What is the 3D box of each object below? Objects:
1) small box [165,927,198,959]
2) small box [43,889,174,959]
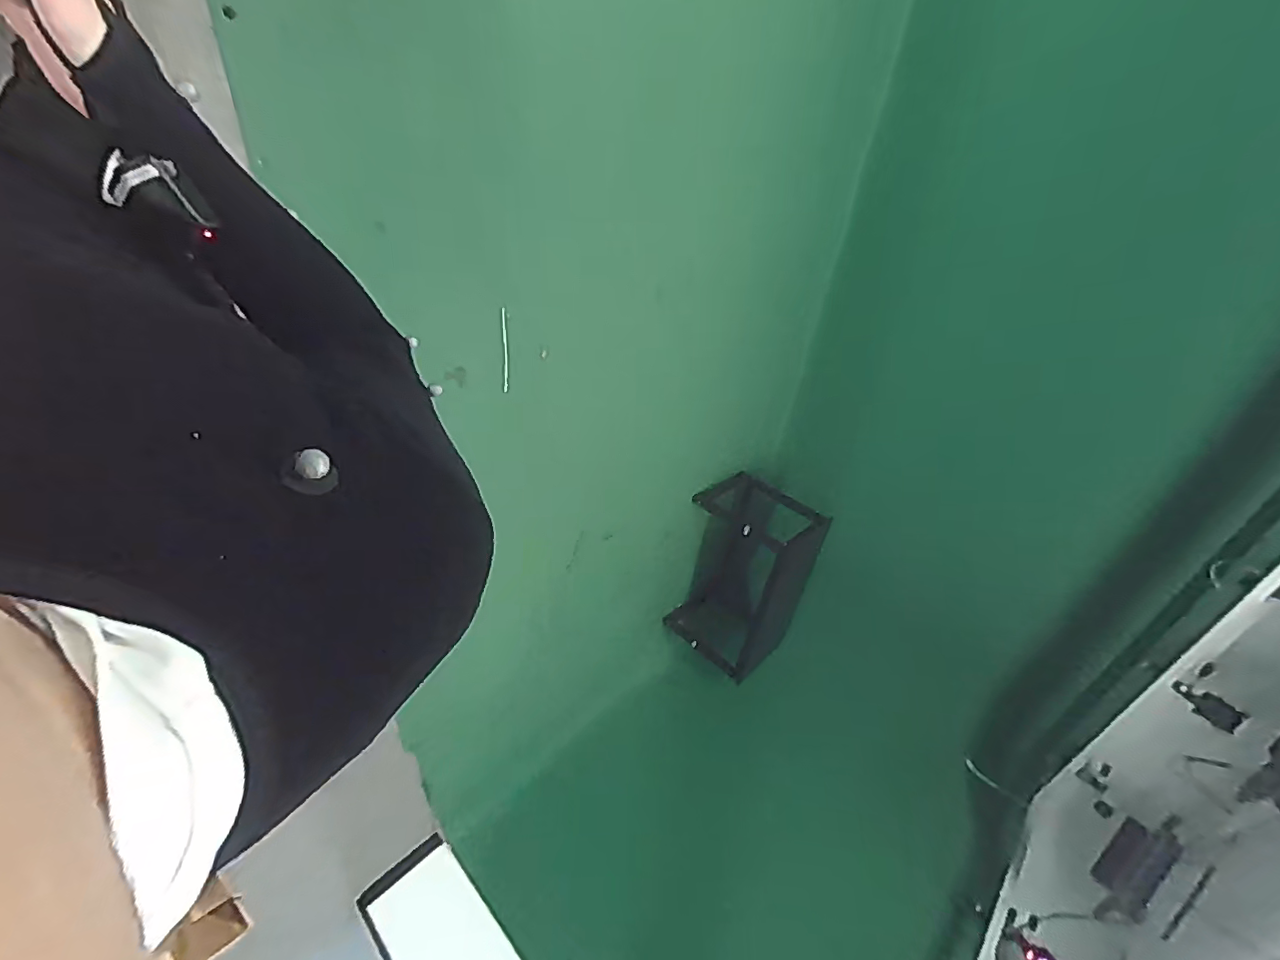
[{"bbox_3d":[-1.178,1.241,1.303,0.168,0.176,0.179,-23,132,-41],"label":"small box"},{"bbox_3d":[-1.143,1.043,1.170,0.168,0.176,0.179,-20,133,-43],"label":"small box"}]
